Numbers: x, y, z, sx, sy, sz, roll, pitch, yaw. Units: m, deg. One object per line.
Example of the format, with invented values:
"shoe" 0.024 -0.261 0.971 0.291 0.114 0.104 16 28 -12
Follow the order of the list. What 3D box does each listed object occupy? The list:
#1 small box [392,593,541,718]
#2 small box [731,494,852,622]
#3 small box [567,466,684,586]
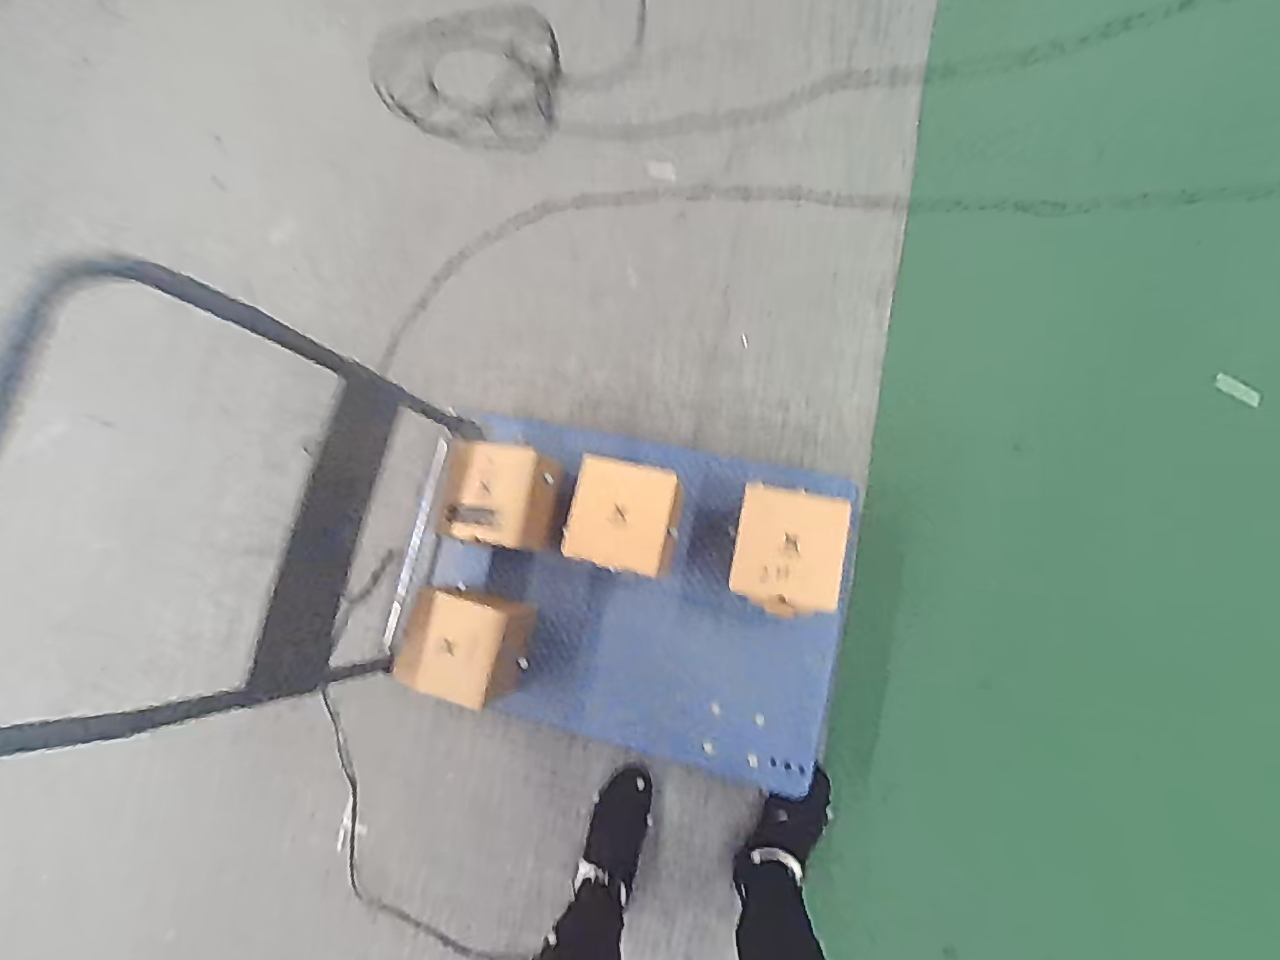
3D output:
"small box" -0.308 0.311 0.993 0.179 0.176 0.168 14 82 11
"small box" 0.254 0.136 0.936 0.168 0.176 0.179 10 81 12
"small box" -0.017 0.088 0.993 0.168 0.176 0.179 12 83 11
